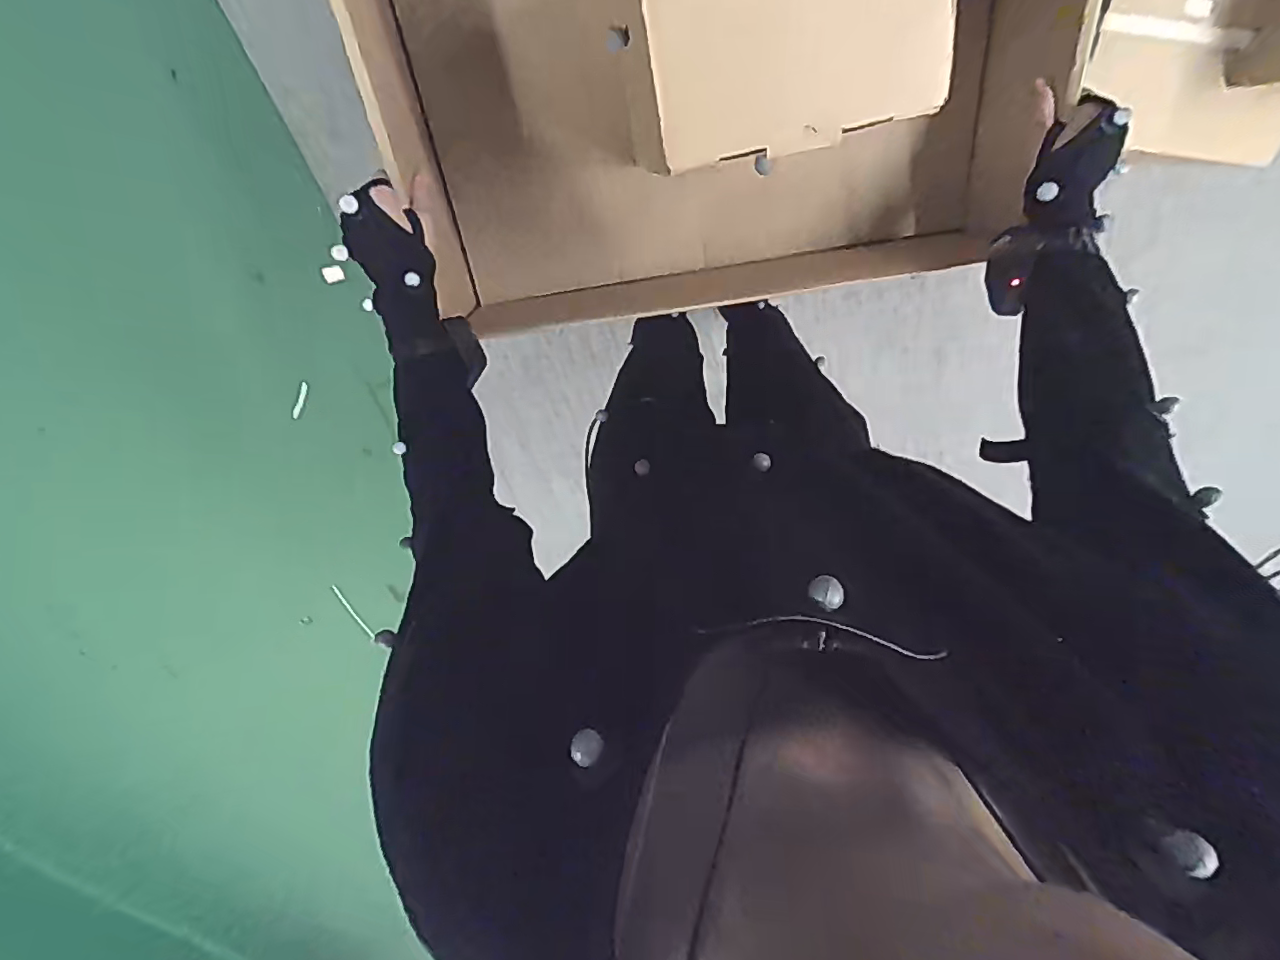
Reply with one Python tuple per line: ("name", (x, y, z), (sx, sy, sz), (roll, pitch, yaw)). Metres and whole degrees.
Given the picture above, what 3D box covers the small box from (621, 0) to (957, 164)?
("small box", (0.075, -0.314, 0.335), (0.168, 0.176, 0.179), (-12, 121, 3))
